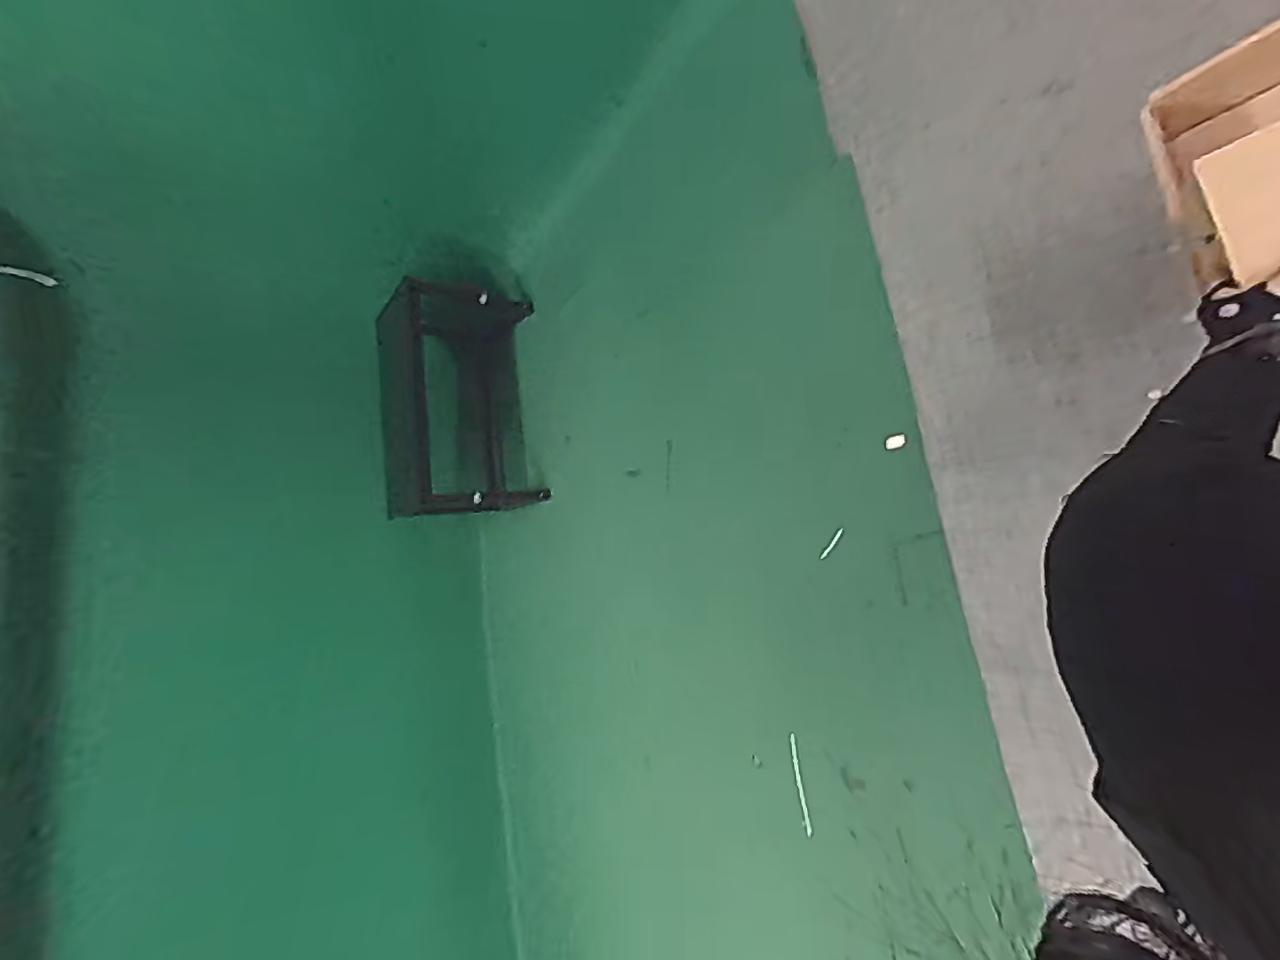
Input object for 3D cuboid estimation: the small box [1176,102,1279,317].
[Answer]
[{"bbox_3d":[0.691,-0.287,0.556,0.168,0.176,0.179,-18,85,42],"label":"small box"}]
